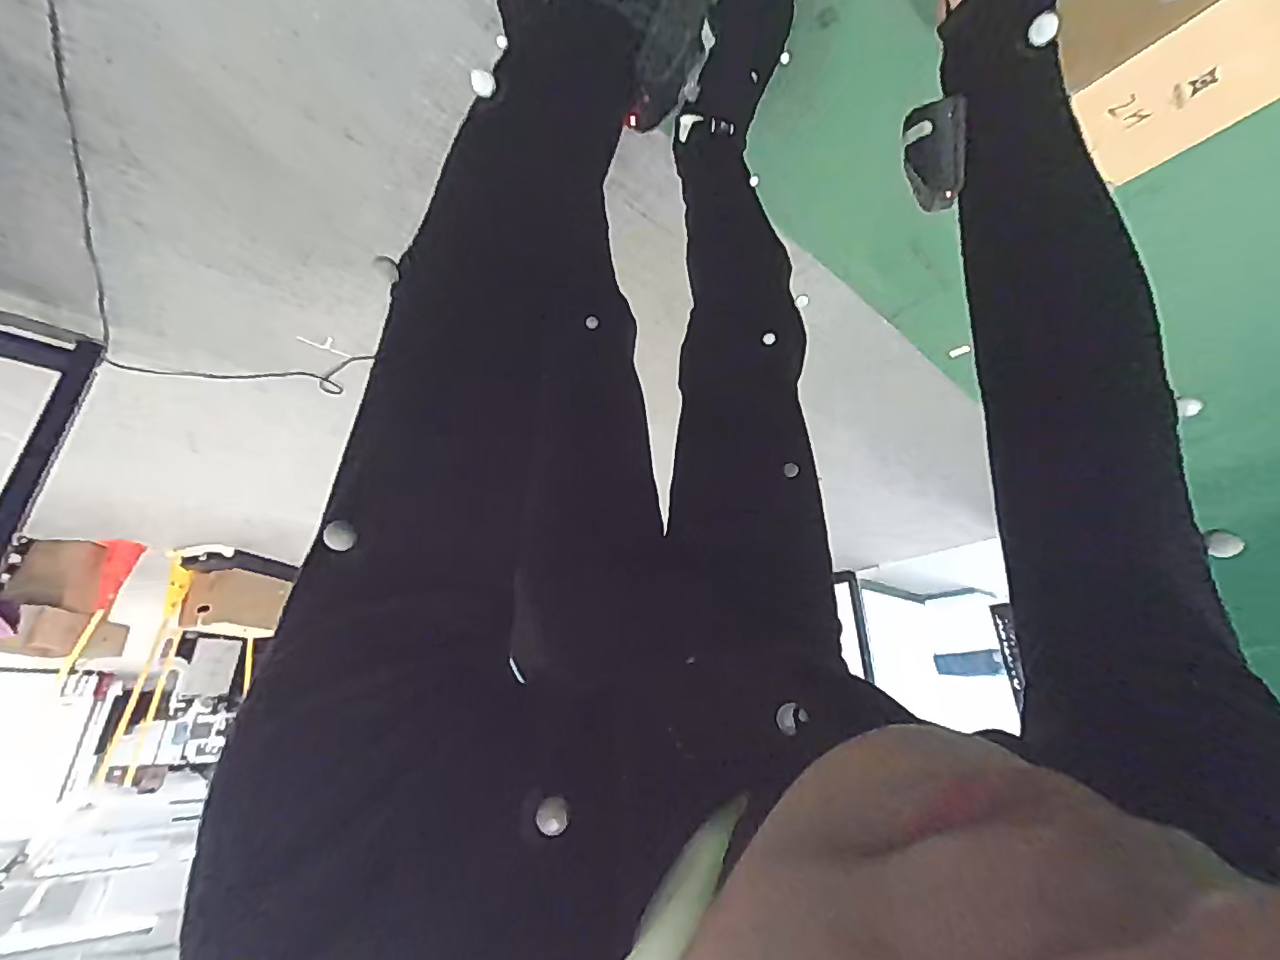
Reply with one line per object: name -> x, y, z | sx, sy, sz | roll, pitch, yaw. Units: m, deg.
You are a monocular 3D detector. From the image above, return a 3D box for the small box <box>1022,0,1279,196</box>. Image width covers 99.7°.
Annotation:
small box -> 0.555, -0.465, 0.581 | 0.168, 0.176, 0.179 | 20, 148, -37
